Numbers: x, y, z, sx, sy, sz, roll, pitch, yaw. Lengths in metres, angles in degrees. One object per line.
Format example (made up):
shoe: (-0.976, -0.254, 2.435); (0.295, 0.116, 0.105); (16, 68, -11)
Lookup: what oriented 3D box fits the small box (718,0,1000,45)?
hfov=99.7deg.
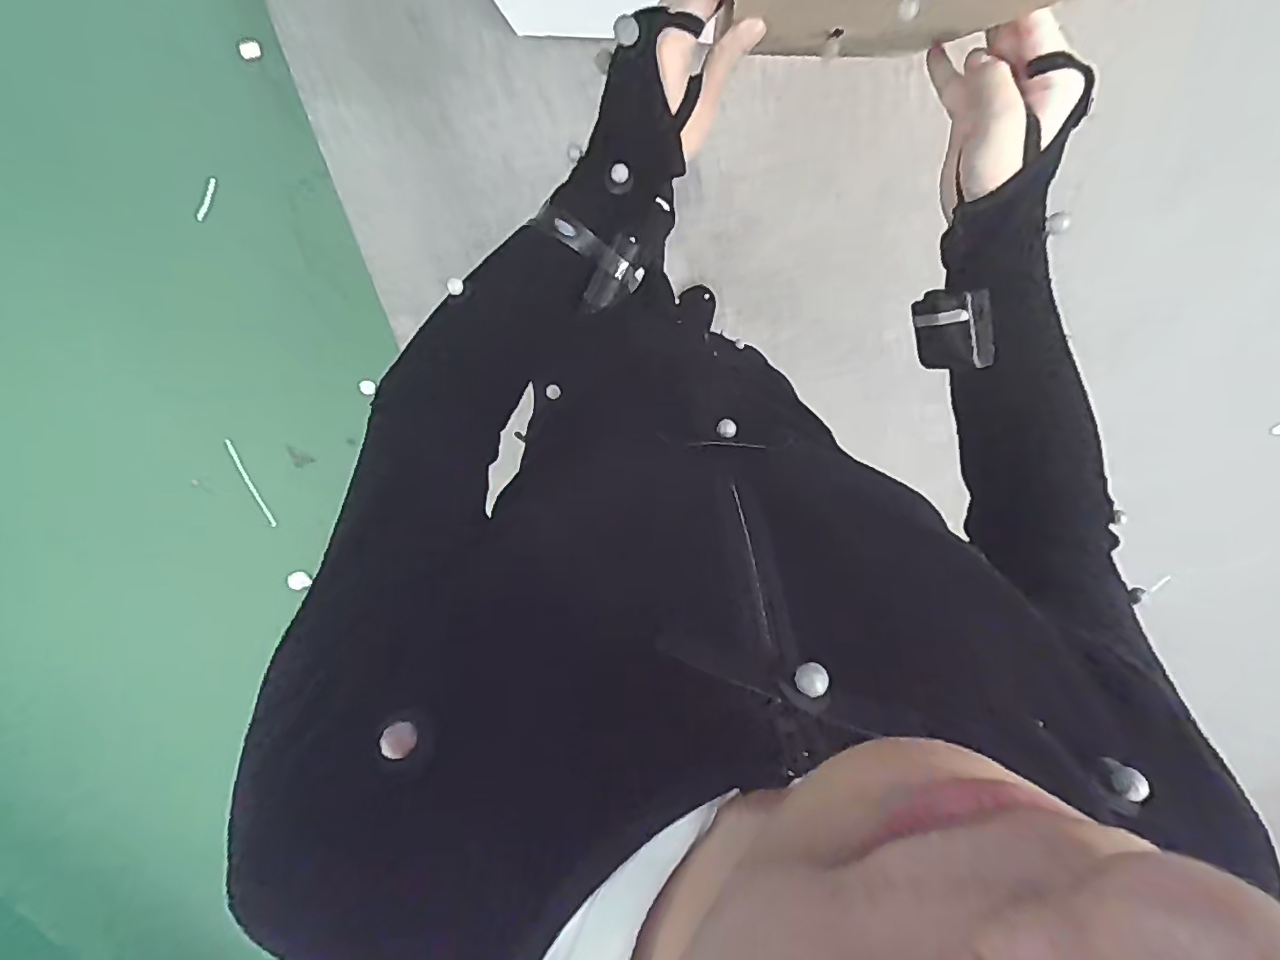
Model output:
small box: (0.150, -0.413, 0.367); (0.179, 0.176, 0.168); (2, 122, 1)
